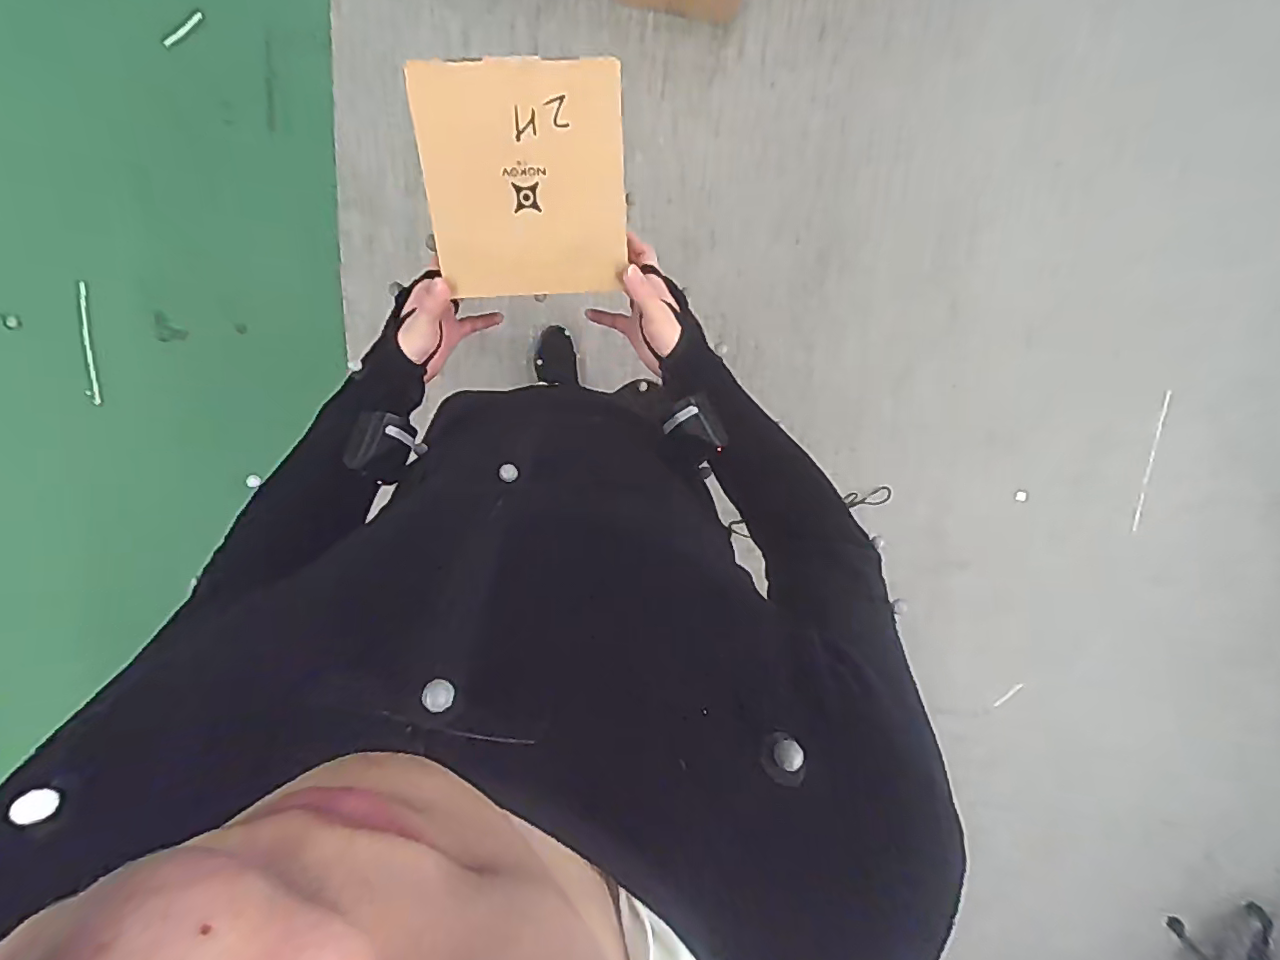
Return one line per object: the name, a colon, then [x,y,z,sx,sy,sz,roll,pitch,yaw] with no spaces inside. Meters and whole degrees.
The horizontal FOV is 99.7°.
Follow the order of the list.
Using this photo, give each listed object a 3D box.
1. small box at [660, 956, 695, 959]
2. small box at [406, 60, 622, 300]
small box: [0.053,1.088,1.054,0.168,0.176,0.179,-4,103,-5]
small box: [-0.104,-0.277,0.524,0.168,0.176,0.179,-4,114,-5]
